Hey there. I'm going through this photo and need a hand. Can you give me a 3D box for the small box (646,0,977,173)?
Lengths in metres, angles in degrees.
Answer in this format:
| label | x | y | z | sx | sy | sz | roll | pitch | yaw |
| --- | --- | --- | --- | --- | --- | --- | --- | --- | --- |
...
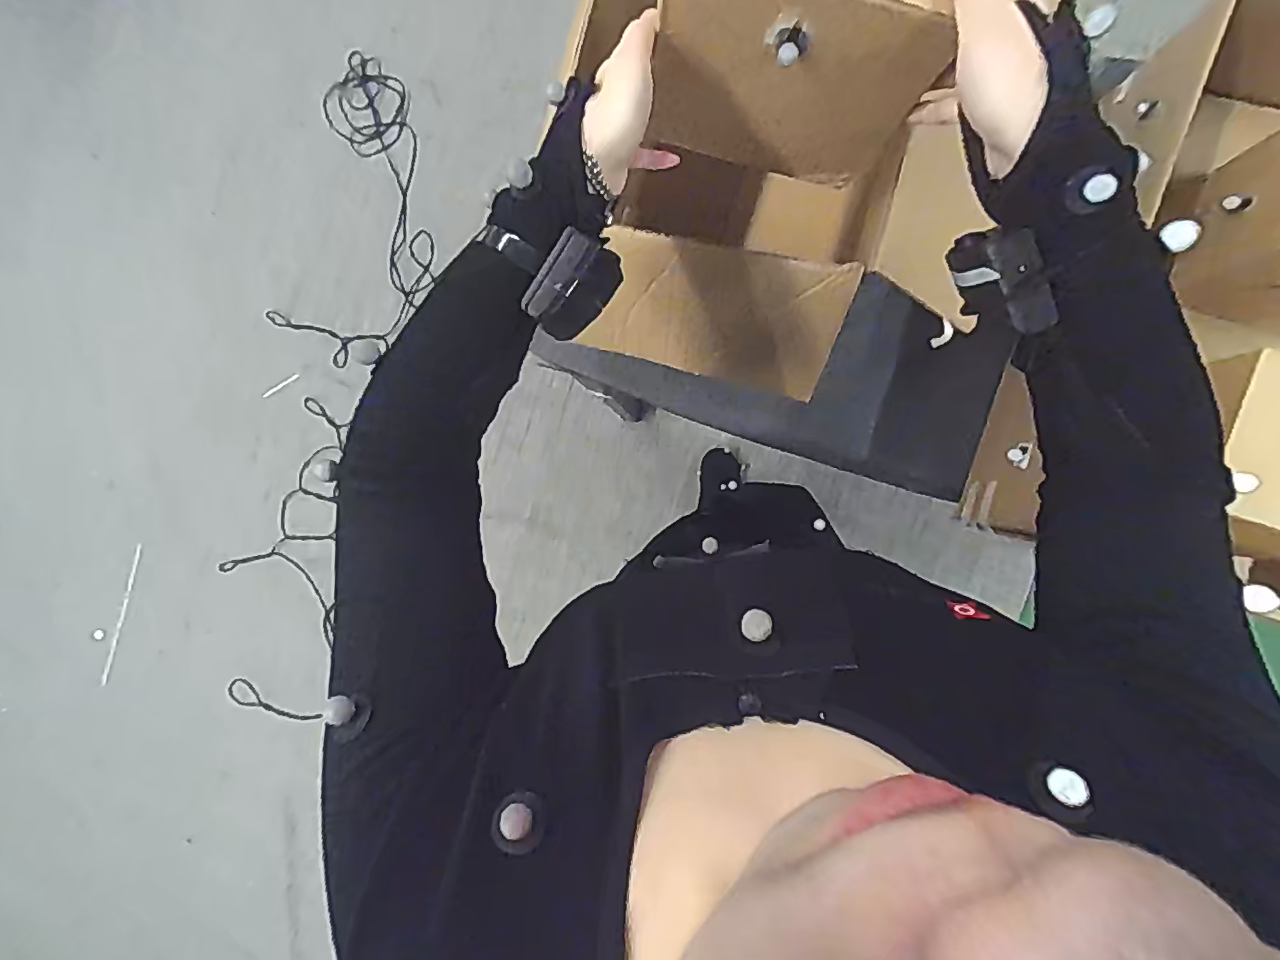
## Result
| label | x | y | z | sx | sy | sz | roll | pitch | yaw |
| --- | --- | --- | --- | --- | --- | --- | --- | --- | --- |
| small box | 0.108 | -0.346 | 0.368 | 0.179 | 0.176 | 0.168 | 13 | 89 | -5 |
